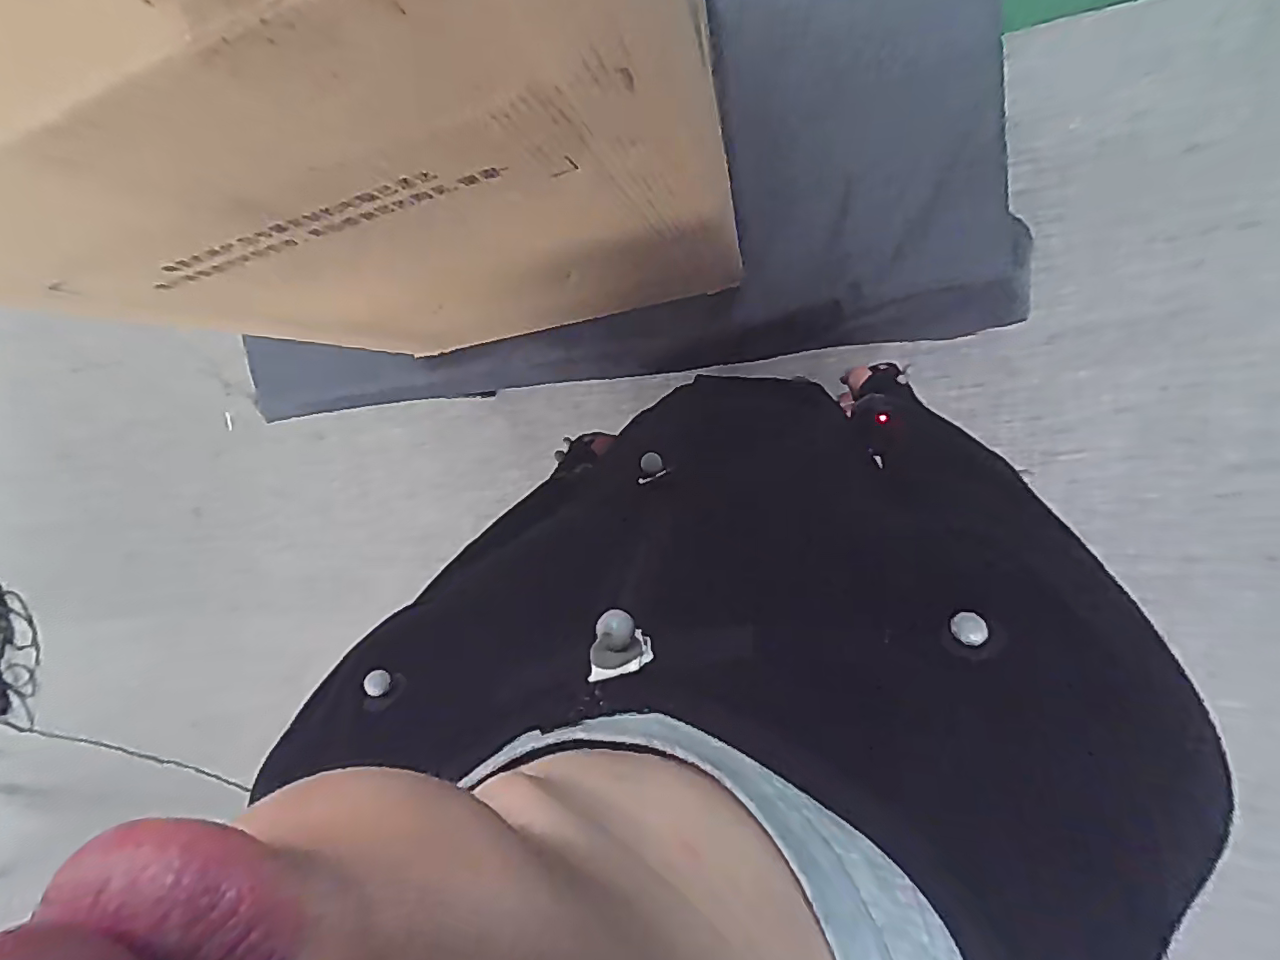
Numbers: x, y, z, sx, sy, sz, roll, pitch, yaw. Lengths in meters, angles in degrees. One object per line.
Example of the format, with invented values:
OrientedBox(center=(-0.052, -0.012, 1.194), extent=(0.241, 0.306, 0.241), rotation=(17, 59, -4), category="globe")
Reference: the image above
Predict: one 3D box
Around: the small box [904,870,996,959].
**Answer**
OrientedBox(center=(0.855, 1.236, 1.506), extent=(0.179, 0.176, 0.168), rotation=(4, 99, 15), category="small box")
